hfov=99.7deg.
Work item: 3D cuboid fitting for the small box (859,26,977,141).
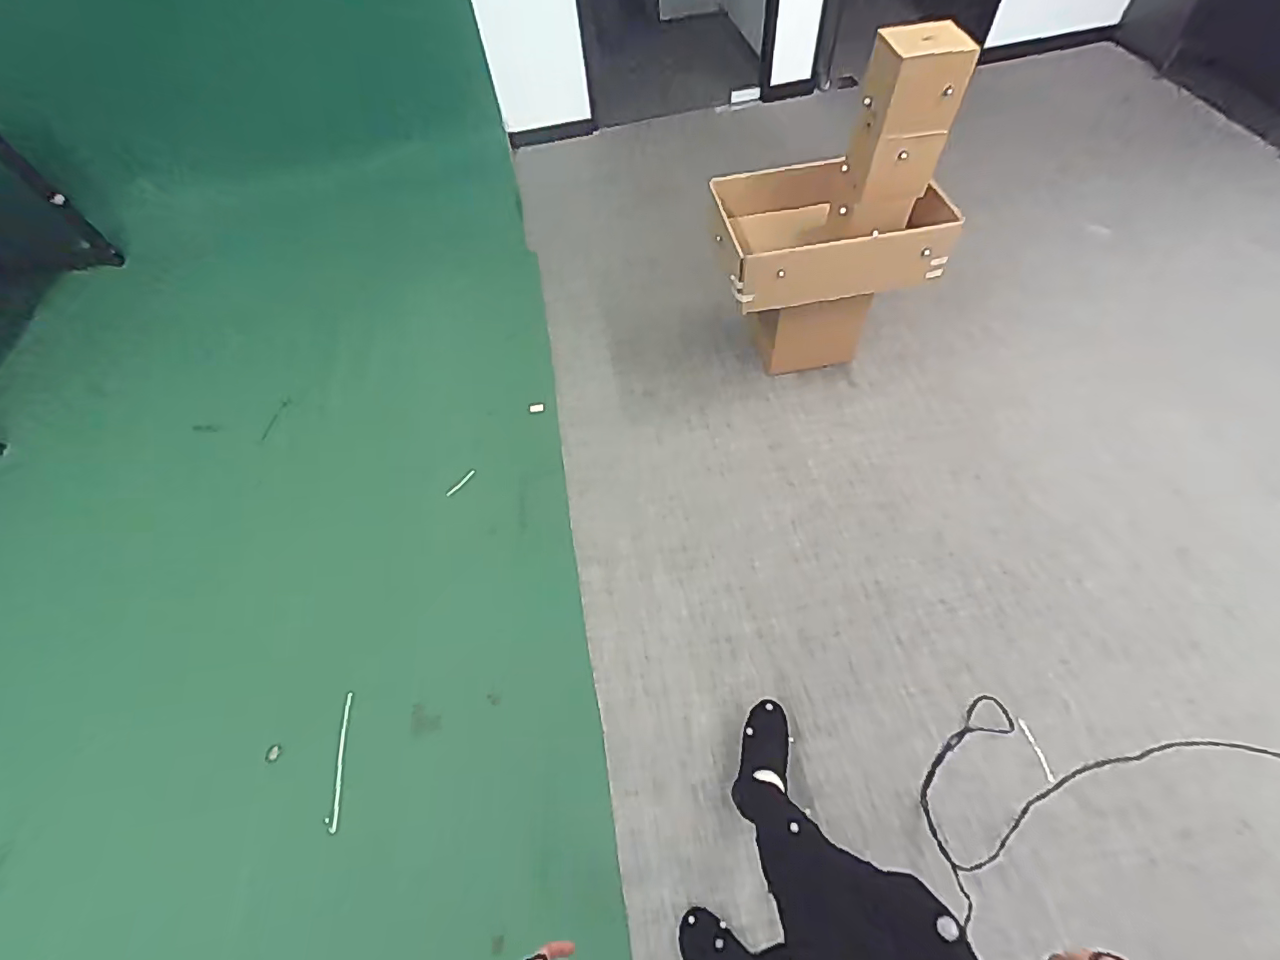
[{"bbox_3d":[0.657,-0.950,1.301,0.179,0.176,0.168,-8,57,1],"label":"small box"}]

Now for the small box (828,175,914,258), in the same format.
[{"bbox_3d":[0.663,-0.765,1.572,0.168,0.176,0.179,-6,57,1],"label":"small box"}]

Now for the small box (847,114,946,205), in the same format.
[{"bbox_3d":[0.665,-0.853,1.433,0.179,0.176,0.168,-7,57,0],"label":"small box"}]
